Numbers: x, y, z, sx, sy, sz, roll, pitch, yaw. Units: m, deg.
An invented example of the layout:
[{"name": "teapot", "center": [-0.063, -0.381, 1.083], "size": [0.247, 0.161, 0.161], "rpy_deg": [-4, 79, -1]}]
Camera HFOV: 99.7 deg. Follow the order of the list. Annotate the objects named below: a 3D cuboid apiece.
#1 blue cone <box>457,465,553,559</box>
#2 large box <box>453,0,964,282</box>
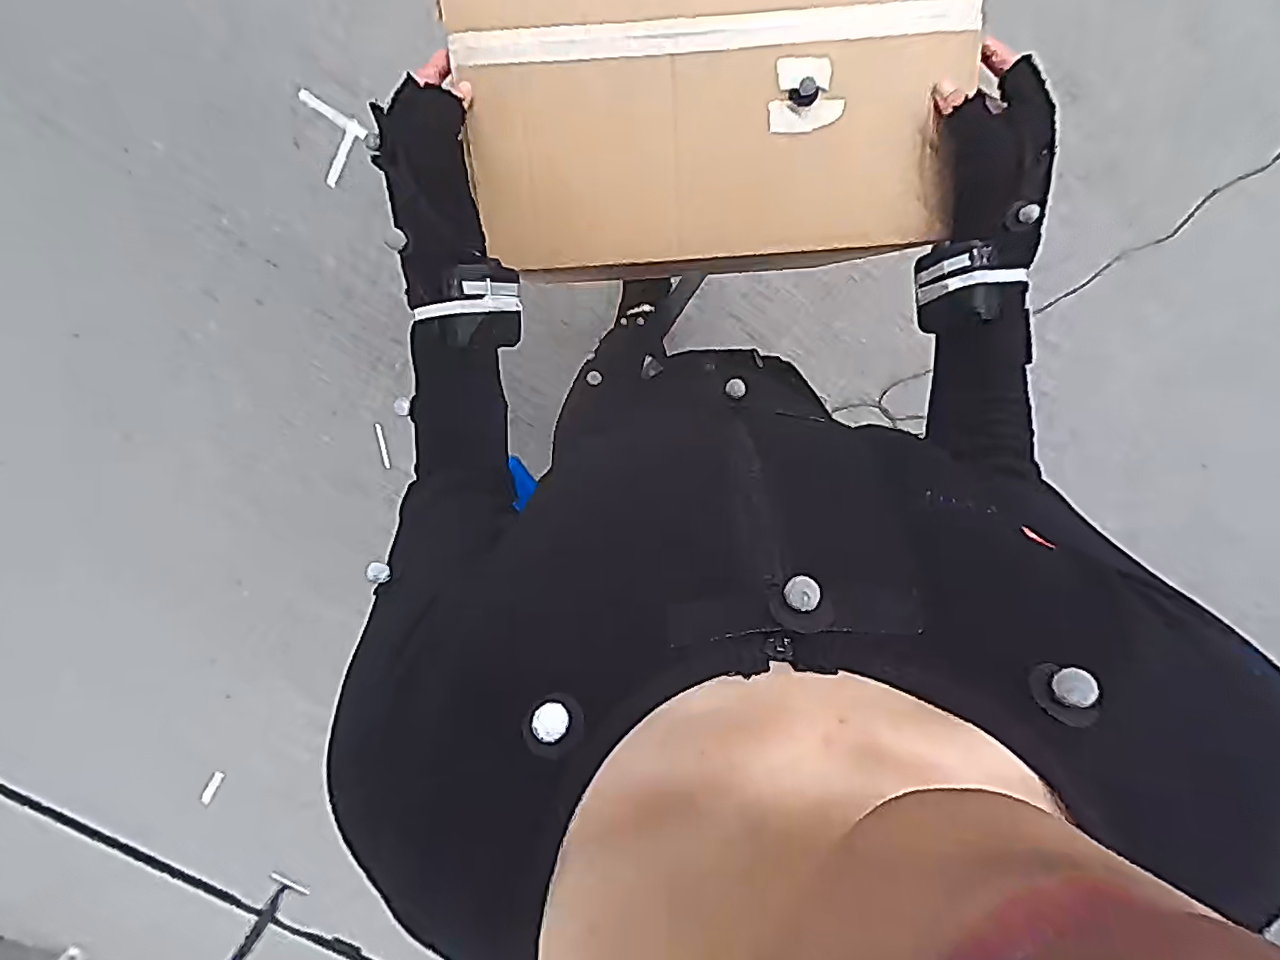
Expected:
[{"name": "blue cone", "center": [-0.369, 0.109, 1.366], "size": [0.192, 0.380, 0.193], "rpy_deg": [-34, 100, 10]}, {"name": "large box", "center": [0.050, -0.394, 0.566], "size": [0.408, 0.320, 0.320], "rpy_deg": [-4, 108, -1]}]
